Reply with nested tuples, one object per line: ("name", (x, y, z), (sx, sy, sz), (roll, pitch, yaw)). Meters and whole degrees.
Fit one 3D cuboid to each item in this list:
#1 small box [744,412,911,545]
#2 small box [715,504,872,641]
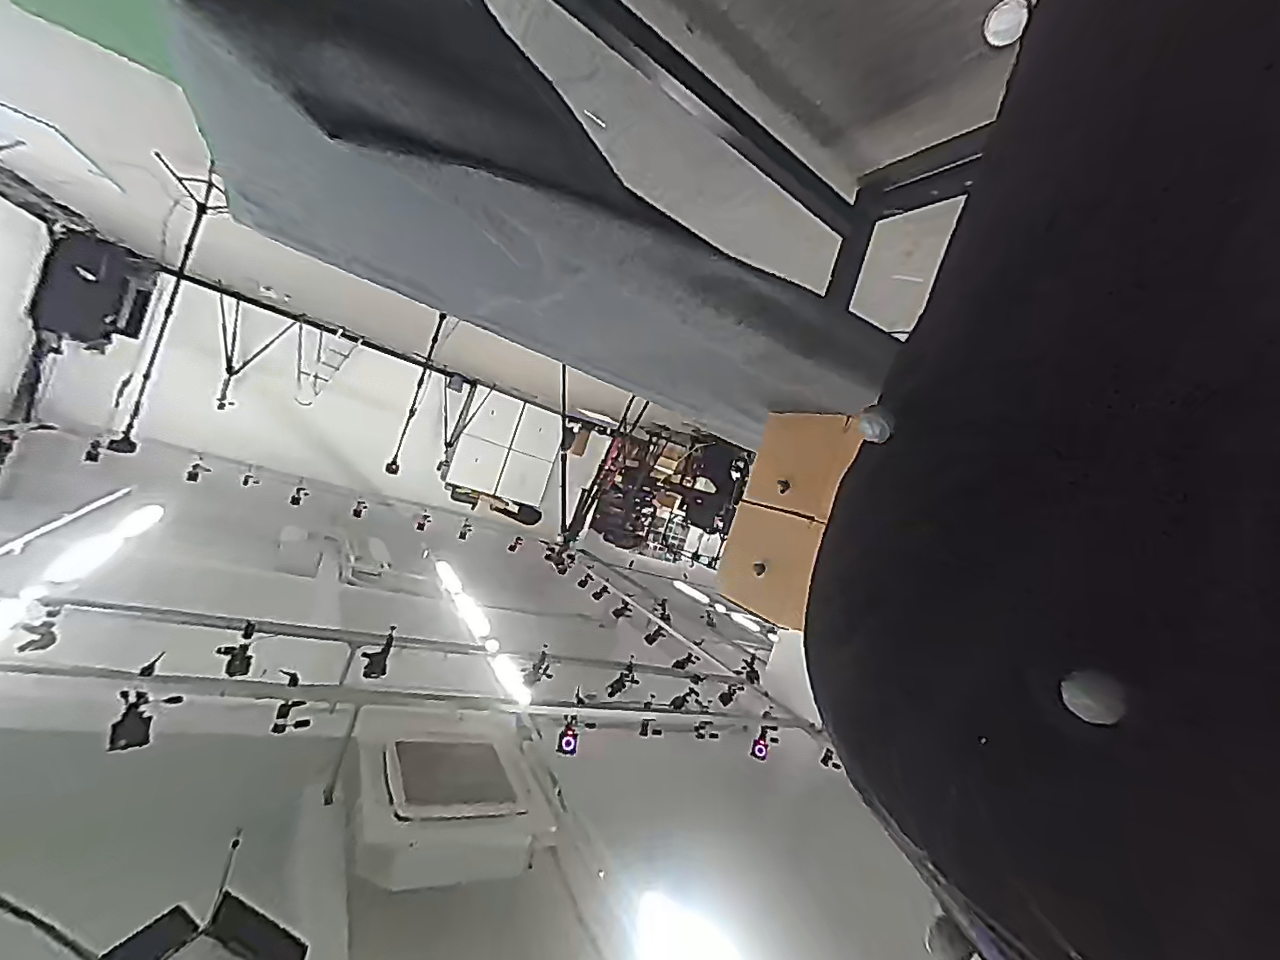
("small box", (0.310, -0.009, 0.899), (0.168, 0.176, 0.179), (19, 178, -28))
("small box", (0.255, 0.145, 0.891), (0.168, 0.176, 0.179), (19, 178, -27))
